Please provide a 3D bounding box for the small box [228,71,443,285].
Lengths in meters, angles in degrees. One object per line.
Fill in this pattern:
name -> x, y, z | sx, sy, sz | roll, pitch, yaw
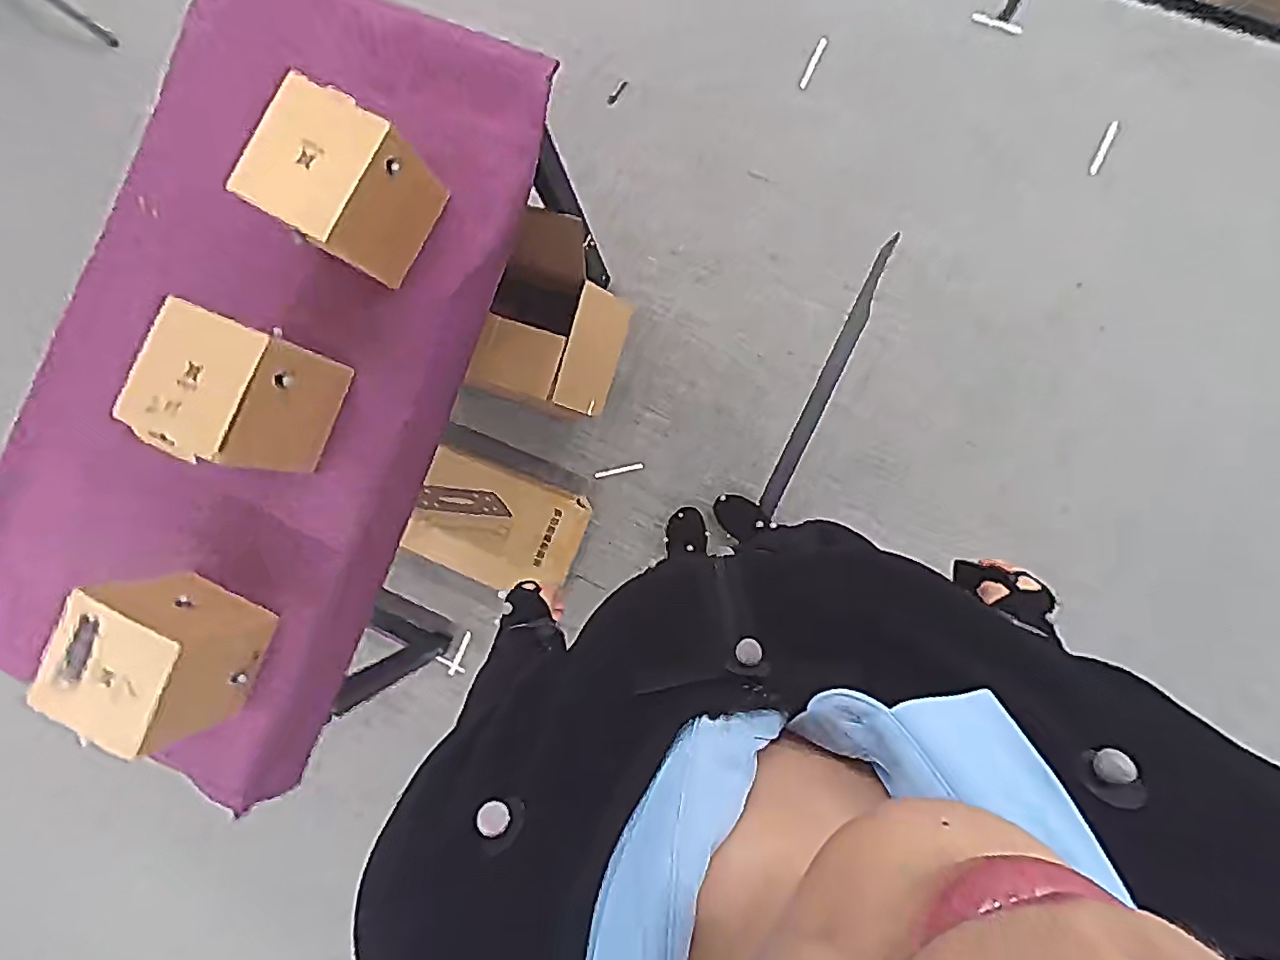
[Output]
small box -> -0.413, -0.408, 0.764 | 0.168, 0.176, 0.179 | 29, 91, 6

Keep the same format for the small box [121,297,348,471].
small box -> -0.555, -0.124, 0.767 | 0.168, 0.176, 0.179 | 22, 90, 9
